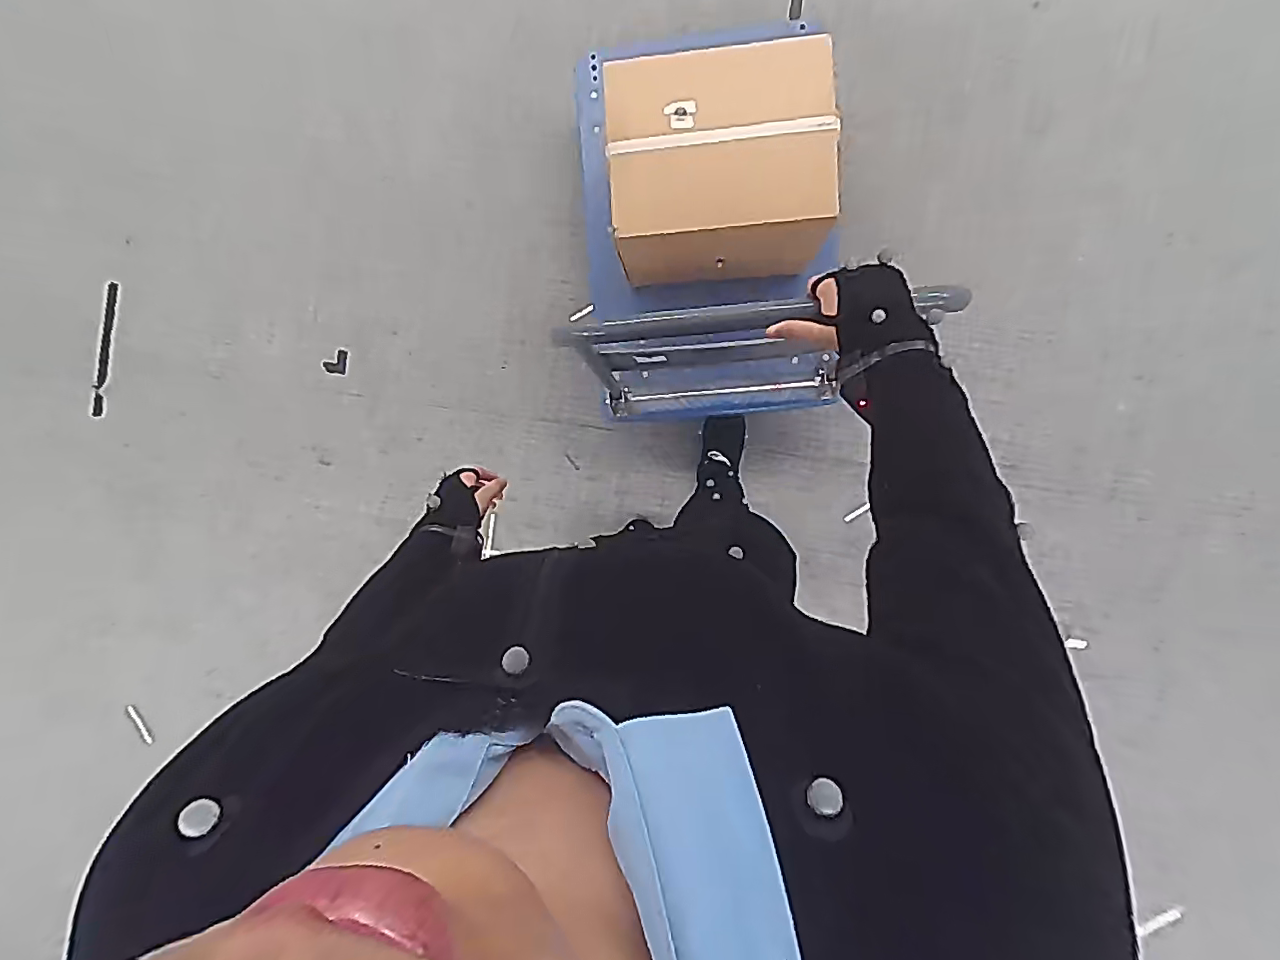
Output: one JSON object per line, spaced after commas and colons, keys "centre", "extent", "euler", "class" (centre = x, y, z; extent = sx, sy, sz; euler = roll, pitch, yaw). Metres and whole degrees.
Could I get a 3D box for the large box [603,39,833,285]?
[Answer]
{"centre": [0.156, -0.625, 1.132], "extent": [0.408, 0.320, 0.320], "euler": [-4, 92, 6], "class": "large box"}
